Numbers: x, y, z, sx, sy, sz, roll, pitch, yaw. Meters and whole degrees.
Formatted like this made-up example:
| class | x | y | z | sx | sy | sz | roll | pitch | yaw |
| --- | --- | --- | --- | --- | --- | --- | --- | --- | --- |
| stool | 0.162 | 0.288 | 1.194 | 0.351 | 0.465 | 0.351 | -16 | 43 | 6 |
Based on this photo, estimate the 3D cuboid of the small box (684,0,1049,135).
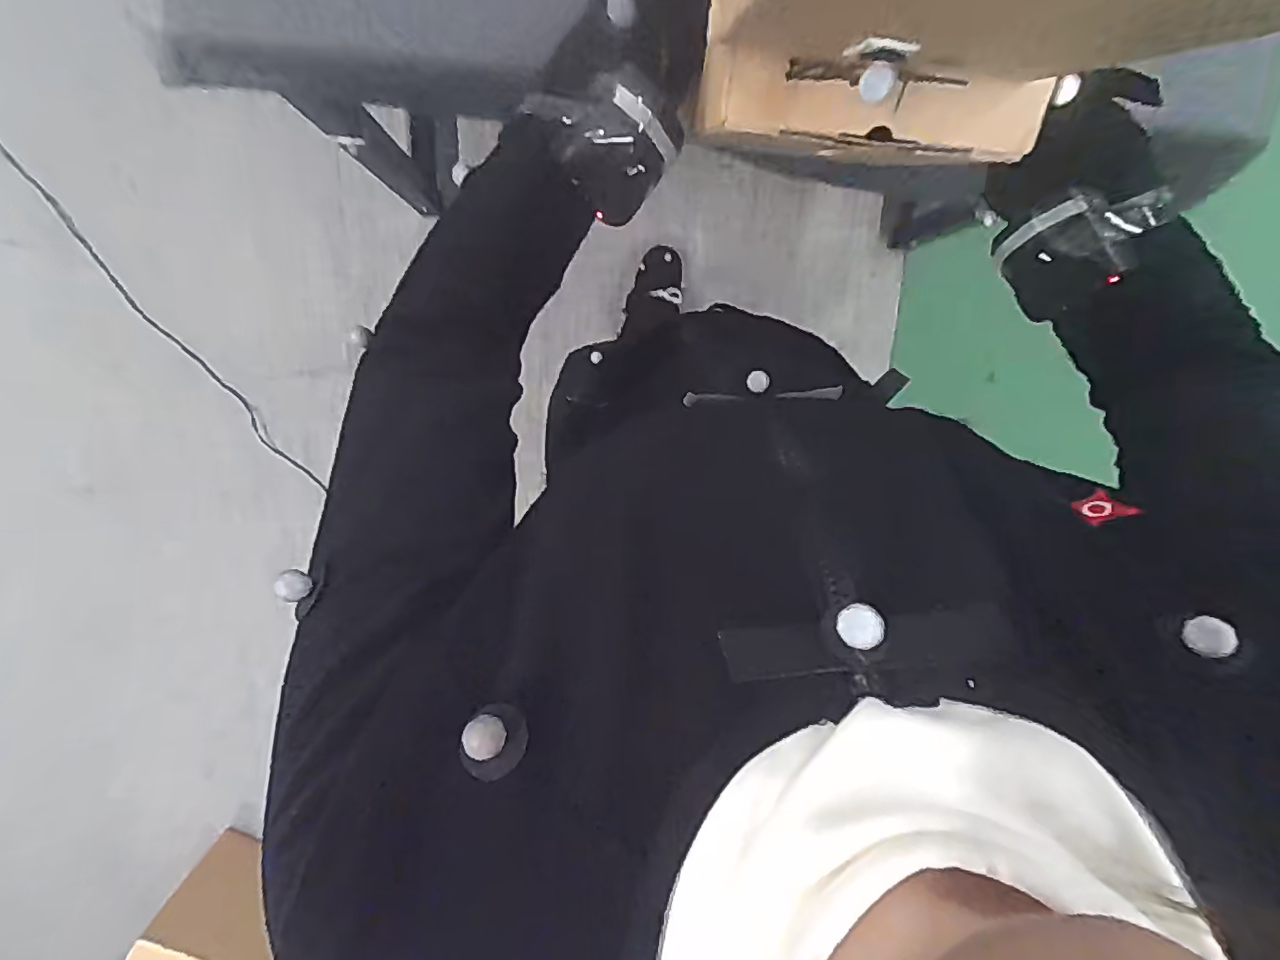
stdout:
| class | x | y | z | sx | sy | sz | roll | pitch | yaw |
| --- | --- | --- | --- | --- | --- | --- | --- | --- | --- |
| small box | 0.118 | -0.302 | 0.306 | 0.168 | 0.176 | 0.179 | 0 | 121 | -3 |

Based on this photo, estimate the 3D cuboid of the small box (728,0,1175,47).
| class | x | y | z | sx | sy | sz | roll | pitch | yaw |
| --- | --- | --- | --- | --- | --- | --- | --- | --- | --- |
| small box | 0.120 | -0.250 | 0.148 | 0.168 | 0.176 | 0.179 | 1 | 121 | -4 |
